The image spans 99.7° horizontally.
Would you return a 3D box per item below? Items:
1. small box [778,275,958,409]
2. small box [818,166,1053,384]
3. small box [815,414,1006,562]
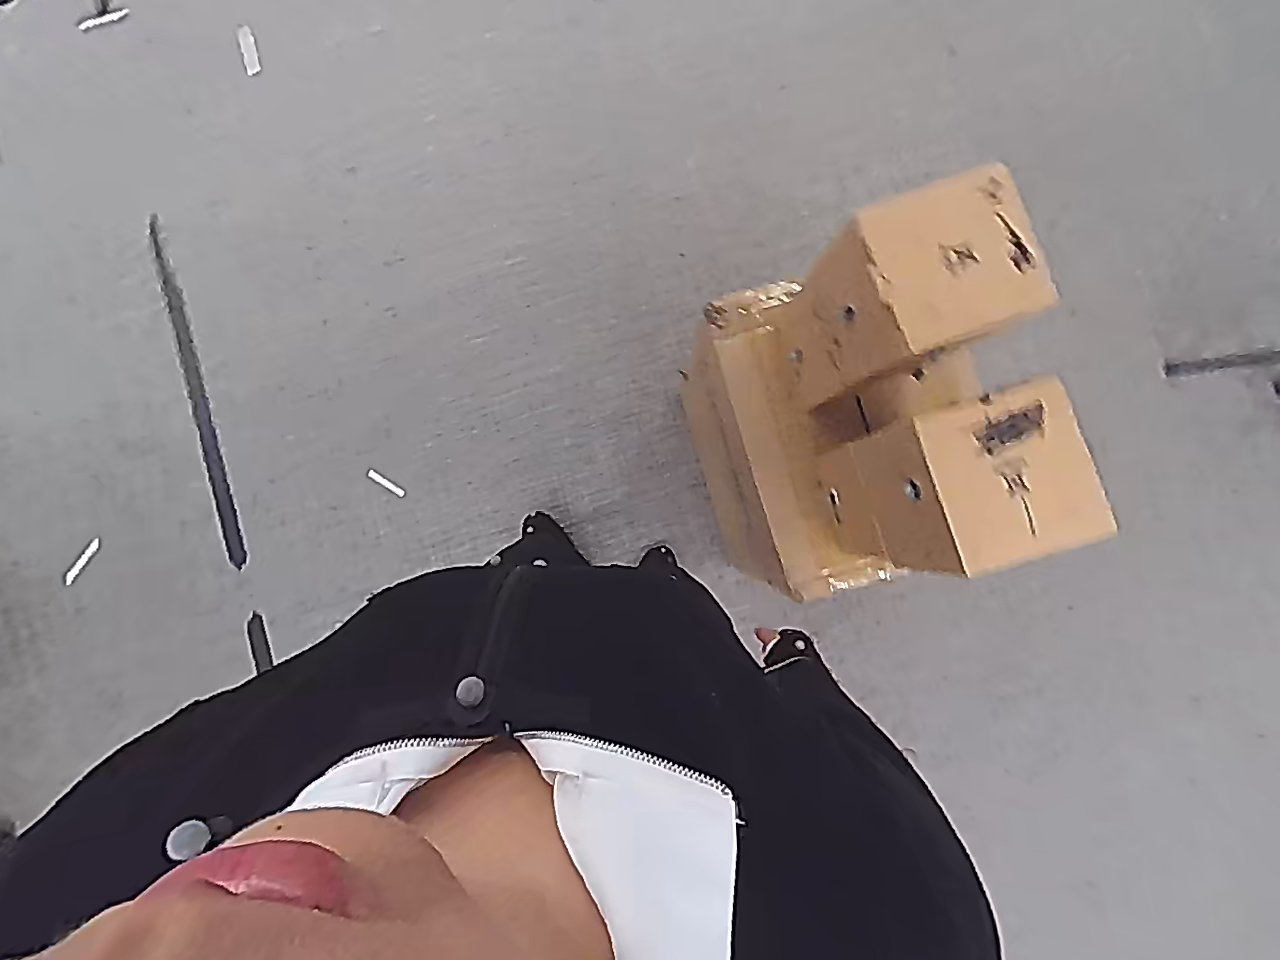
[{"bbox_3d":[0.333,-0.221,0.824,0.179,0.176,0.168,-18,87,-1],"label":"small box"},{"bbox_3d":[0.336,-0.232,0.660,0.179,0.176,0.168,-19,86,-1],"label":"small box"},{"bbox_3d":[0.388,0.017,0.809,0.179,0.176,0.168,-17,83,0],"label":"small box"}]
